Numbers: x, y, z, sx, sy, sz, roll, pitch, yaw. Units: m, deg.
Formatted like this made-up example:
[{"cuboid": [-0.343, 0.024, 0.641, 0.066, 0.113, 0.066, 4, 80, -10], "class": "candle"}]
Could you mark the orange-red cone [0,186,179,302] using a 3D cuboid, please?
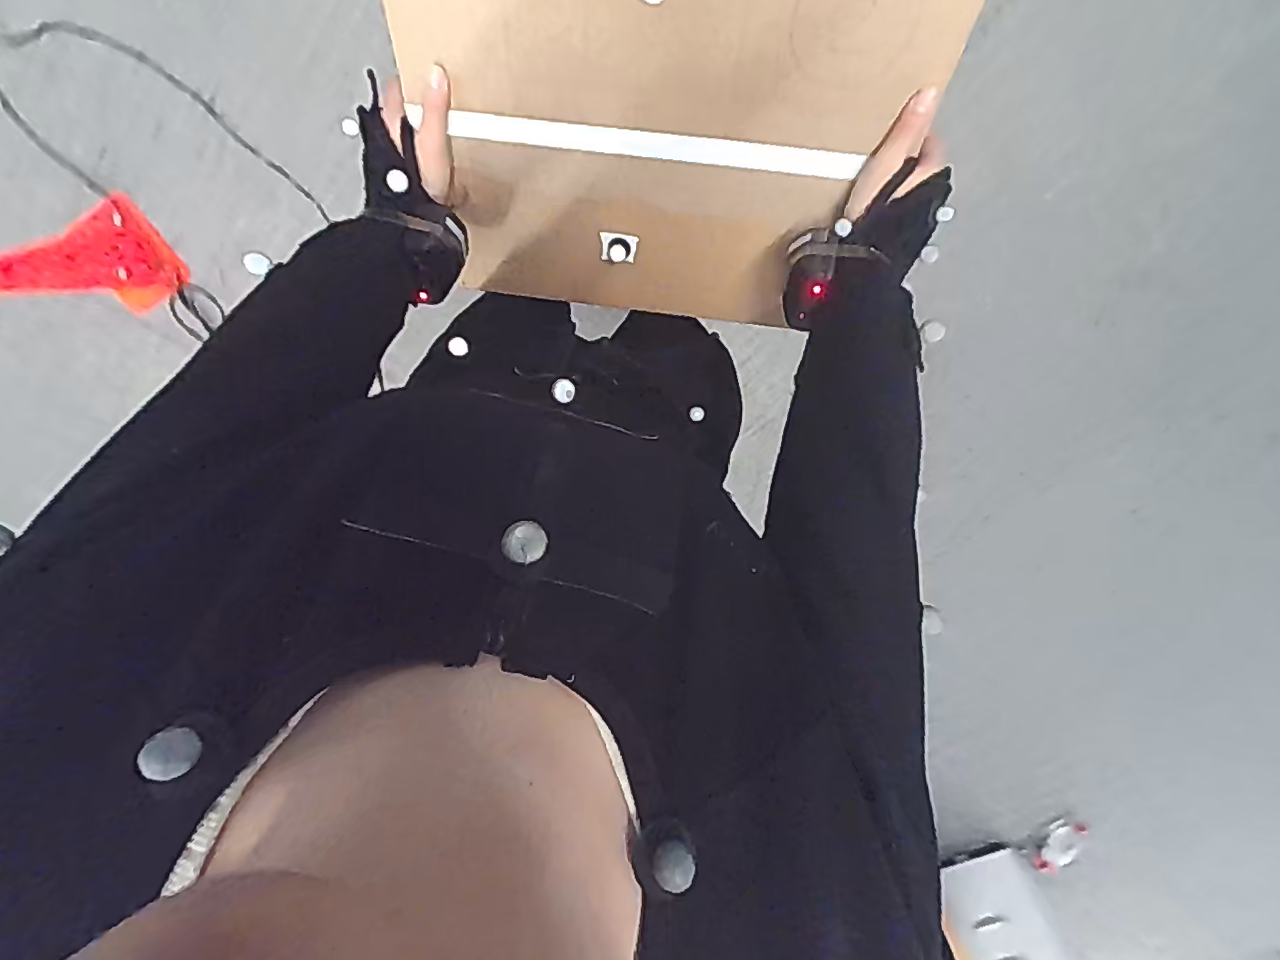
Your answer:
[{"cuboid": [-1.168, -0.439, 1.056, 0.199, 0.360, 0.198, -20, 115, 15], "class": "orange-red cone"}]
